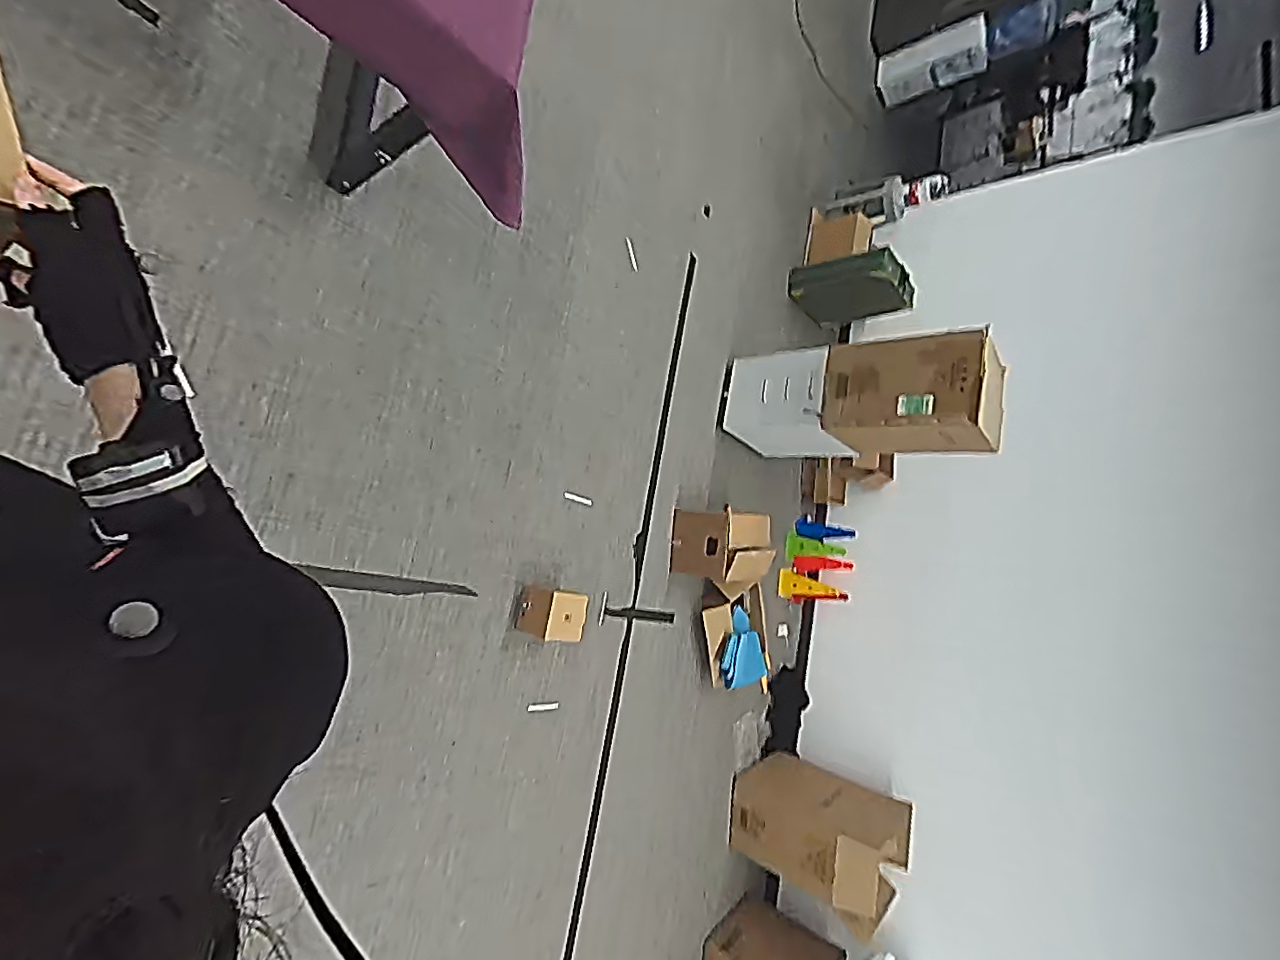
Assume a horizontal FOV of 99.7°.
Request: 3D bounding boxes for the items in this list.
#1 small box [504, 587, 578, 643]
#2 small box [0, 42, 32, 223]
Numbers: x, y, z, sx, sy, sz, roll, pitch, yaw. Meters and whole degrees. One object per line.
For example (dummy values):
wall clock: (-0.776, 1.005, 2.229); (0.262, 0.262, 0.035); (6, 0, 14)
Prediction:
small box: (-0.354, 0.482, 1.940); (0.179, 0.176, 0.168); (22, 74, -48)
small box: (-0.527, -0.235, 0.322); (0.168, 0.176, 0.179); (-9, 82, -67)
